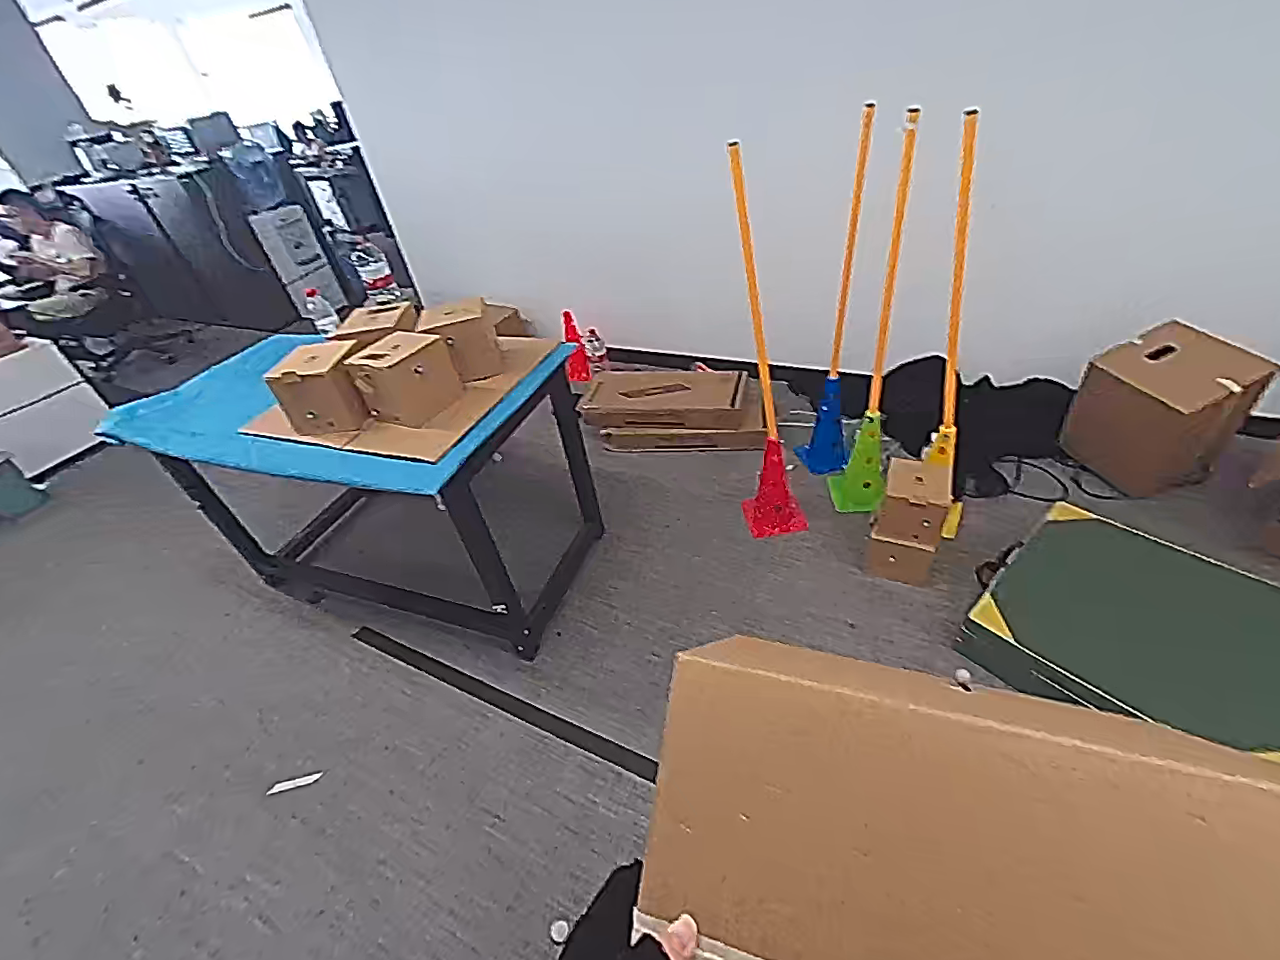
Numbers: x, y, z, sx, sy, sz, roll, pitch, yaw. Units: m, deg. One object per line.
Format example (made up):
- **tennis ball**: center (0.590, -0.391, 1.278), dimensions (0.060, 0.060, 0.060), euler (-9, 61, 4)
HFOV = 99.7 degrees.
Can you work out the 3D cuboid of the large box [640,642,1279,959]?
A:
- **large box**: center (0.234, 0.324, 0.411), dimensions (0.408, 0.320, 0.320), euler (6, 79, 18)
